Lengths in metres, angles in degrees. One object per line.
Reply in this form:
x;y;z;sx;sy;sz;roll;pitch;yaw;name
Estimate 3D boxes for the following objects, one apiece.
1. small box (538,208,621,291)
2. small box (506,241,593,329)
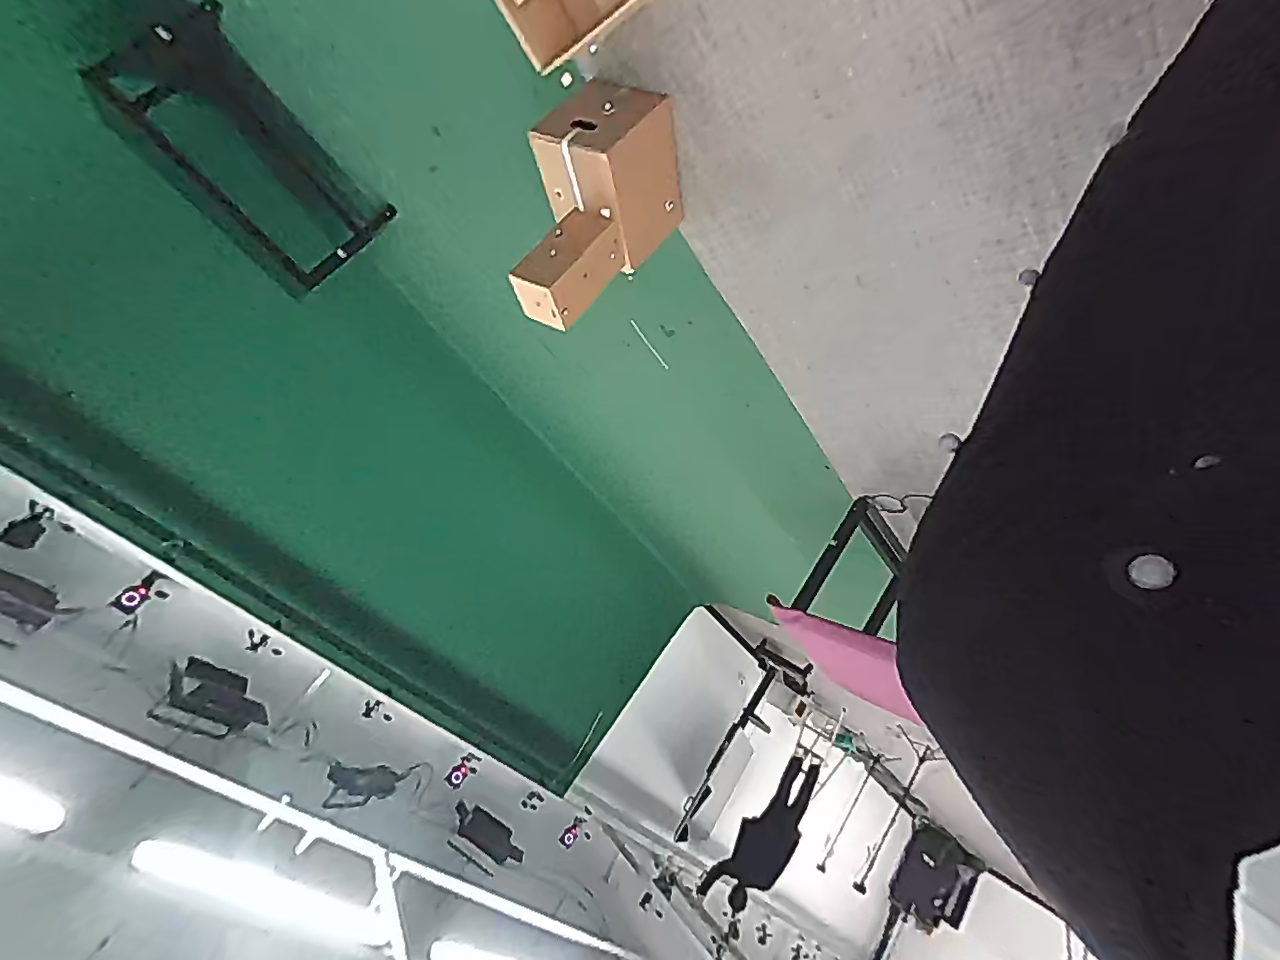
-0.185;-0.731;1.717;0.179;0.176;0.168;28;159;24;small box
-0.272;-0.604;1.660;0.179;0.176;0.168;29;159;25;small box
